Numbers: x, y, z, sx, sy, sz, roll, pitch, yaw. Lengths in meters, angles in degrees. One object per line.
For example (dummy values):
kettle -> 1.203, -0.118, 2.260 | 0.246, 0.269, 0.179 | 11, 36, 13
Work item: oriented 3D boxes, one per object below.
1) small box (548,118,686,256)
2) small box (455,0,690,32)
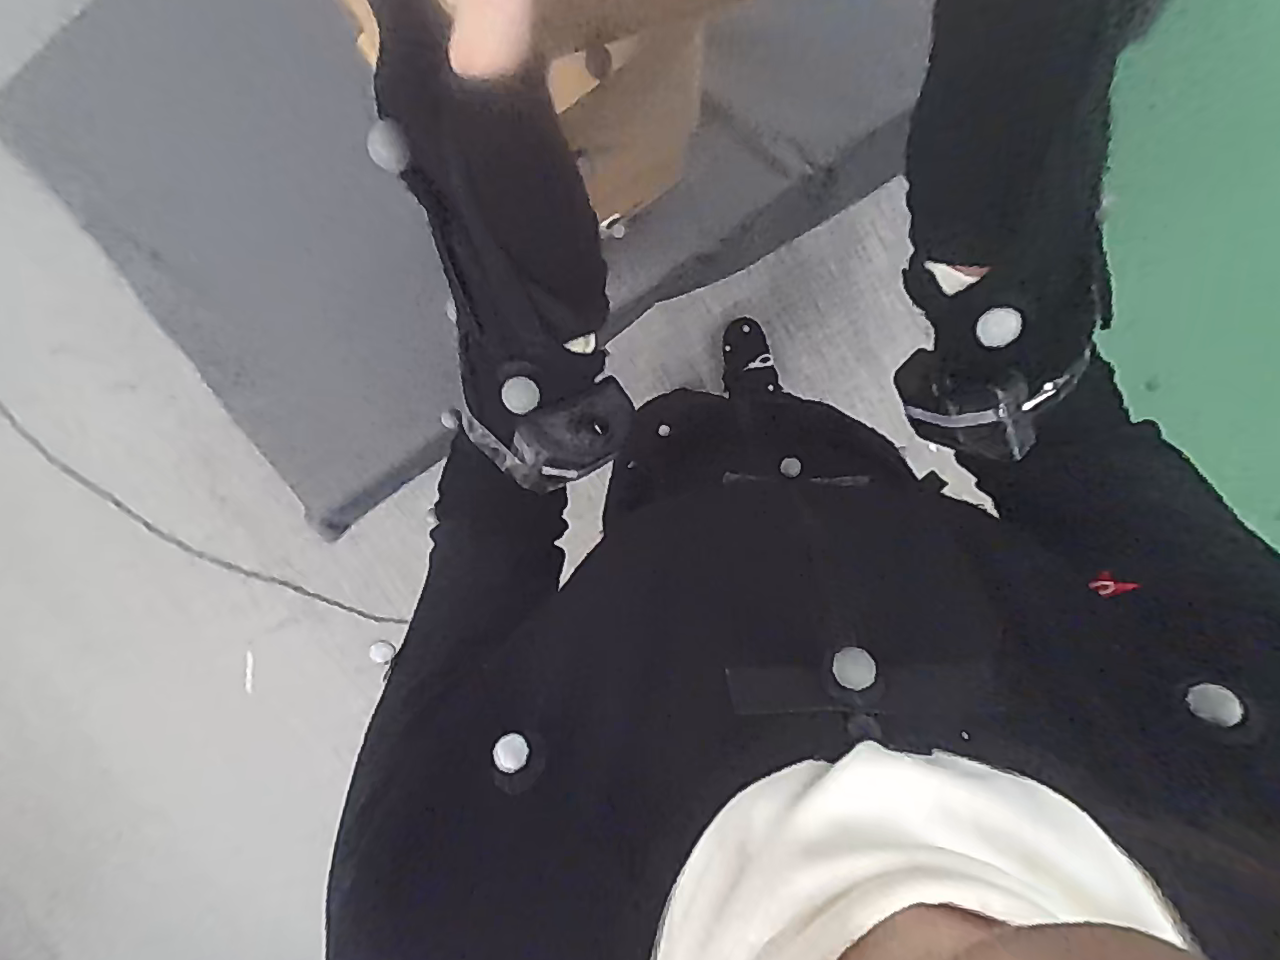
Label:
small box -> -0.069, -0.357, 0.545 | 0.168, 0.176, 0.179 | -34, 98, 11
small box -> 0.009, -0.255, 0.149 | 0.168, 0.176, 0.179 | -11, 123, 7
